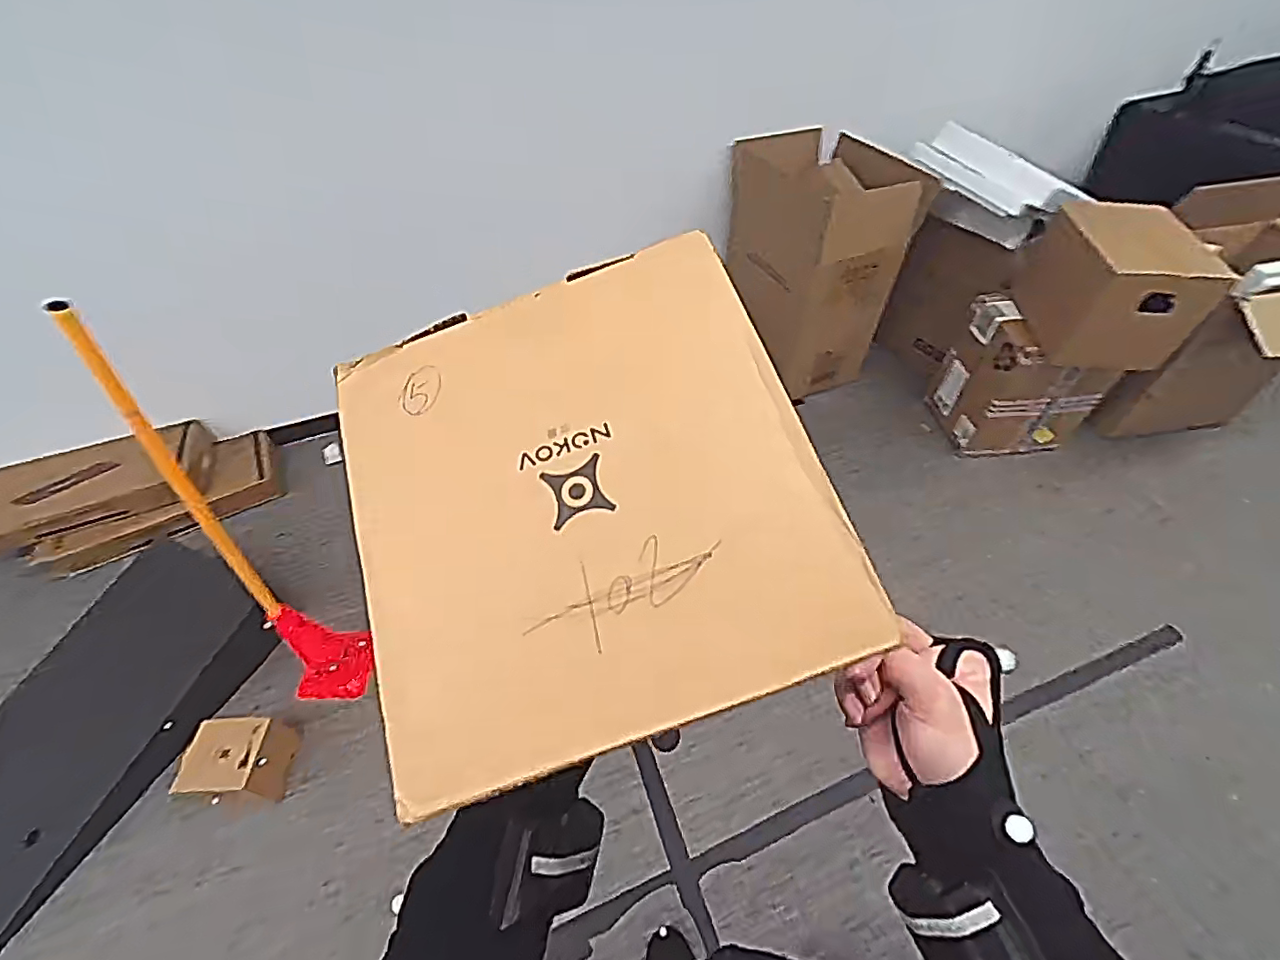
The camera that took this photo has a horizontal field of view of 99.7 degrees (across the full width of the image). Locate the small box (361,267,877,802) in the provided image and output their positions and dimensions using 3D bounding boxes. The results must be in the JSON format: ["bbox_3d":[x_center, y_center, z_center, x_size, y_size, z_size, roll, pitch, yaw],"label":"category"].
[{"bbox_3d":[-0.012,0.033,0.283,0.168,0.176,0.179,-19,70,2],"label":"small box"}]
